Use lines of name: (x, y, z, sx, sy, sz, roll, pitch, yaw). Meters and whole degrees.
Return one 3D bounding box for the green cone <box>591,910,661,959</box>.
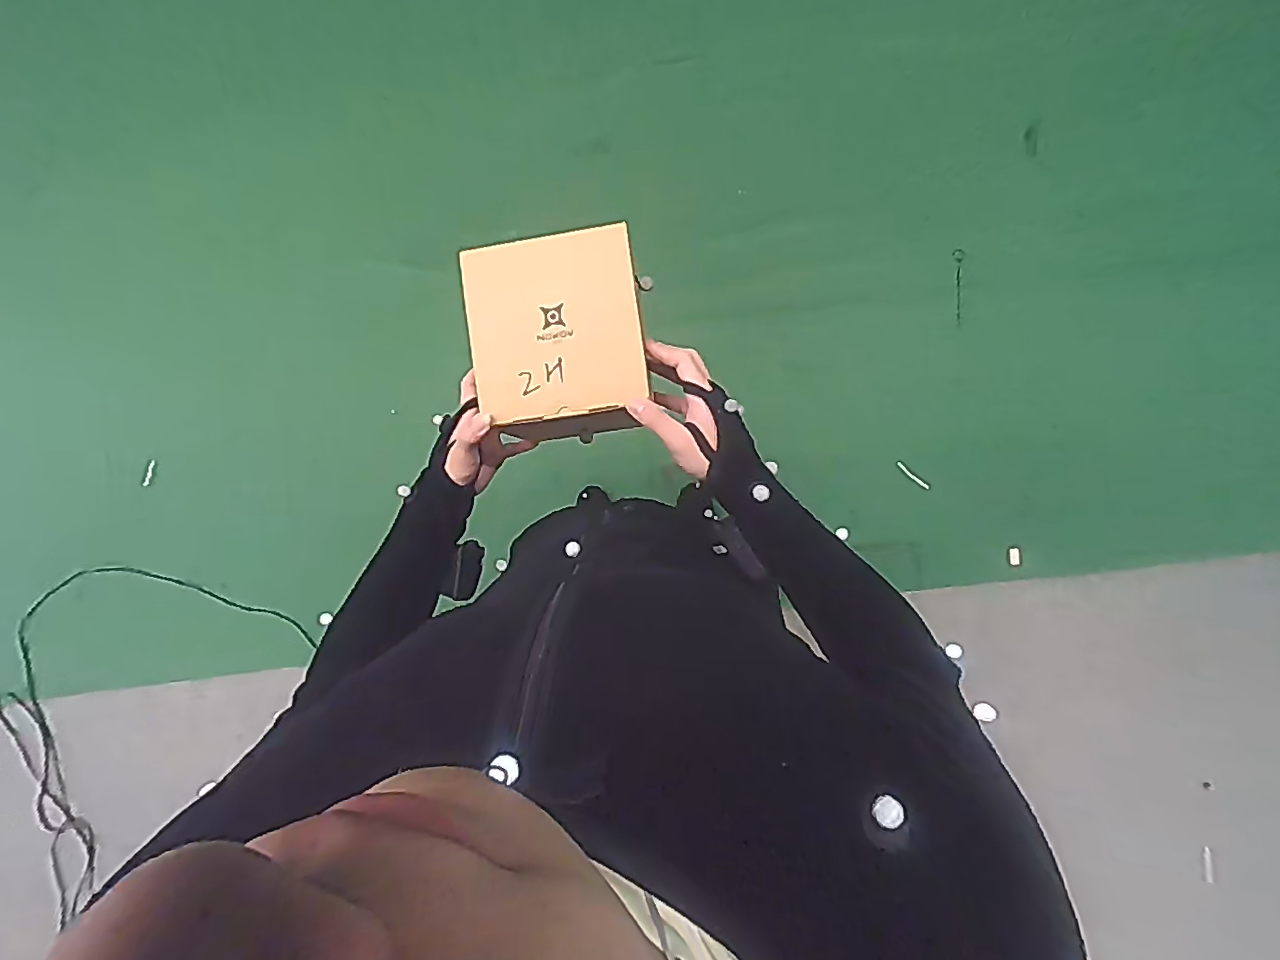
green cone: (-0.054, 1.400, 1.460, 0.202, 0.368, 0.200, -7, 90, 4)
